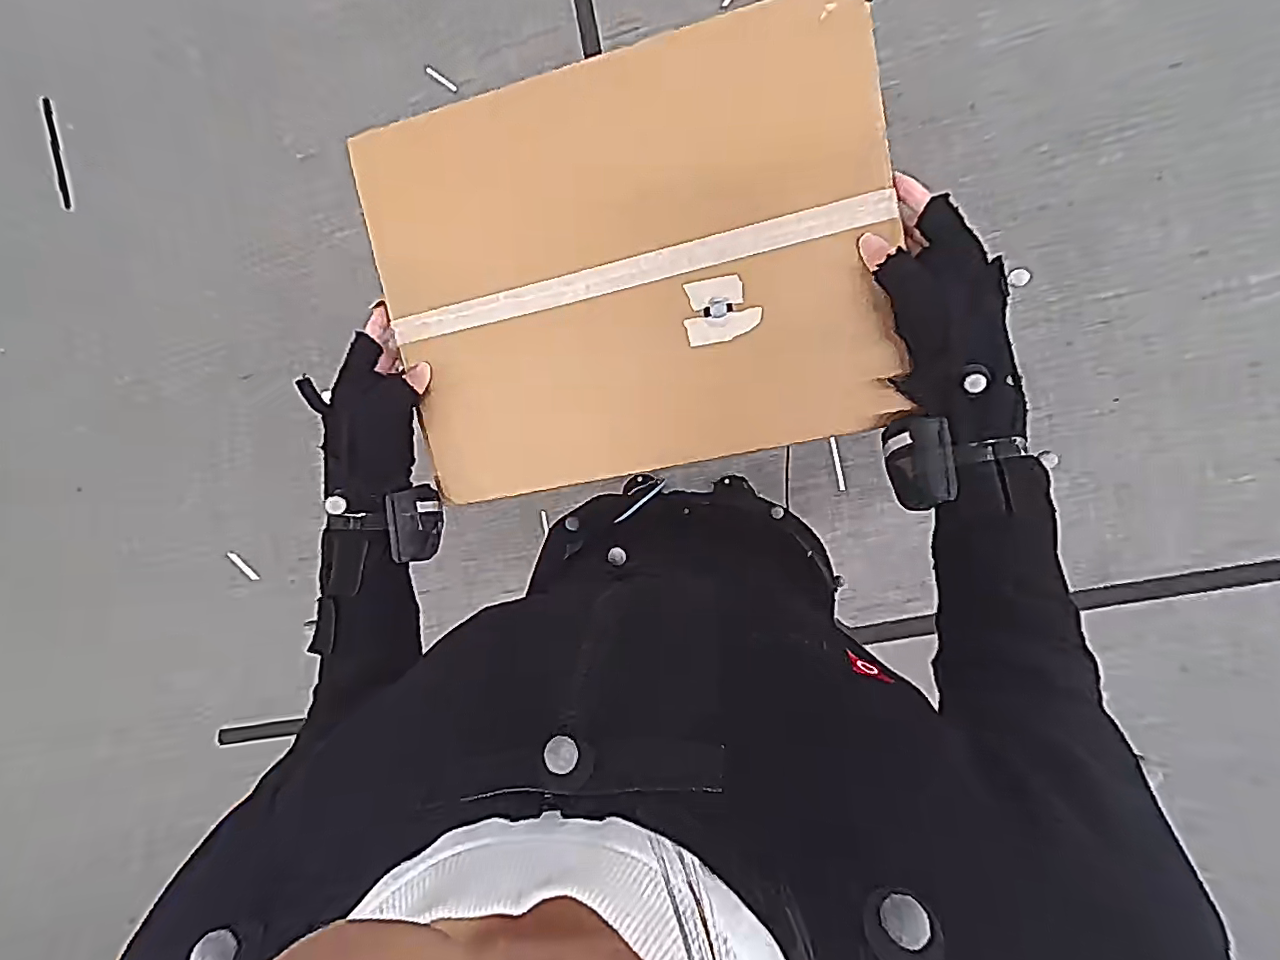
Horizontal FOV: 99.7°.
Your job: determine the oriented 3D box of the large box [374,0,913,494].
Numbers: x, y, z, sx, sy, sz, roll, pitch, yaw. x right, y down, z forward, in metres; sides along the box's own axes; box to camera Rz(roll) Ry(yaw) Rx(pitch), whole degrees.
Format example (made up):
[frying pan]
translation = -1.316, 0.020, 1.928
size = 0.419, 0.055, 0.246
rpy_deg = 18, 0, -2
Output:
[large box]
translation = 0.015, -0.192, 0.585
size = 0.408, 0.320, 0.320
rpy_deg = -10, 98, 10
